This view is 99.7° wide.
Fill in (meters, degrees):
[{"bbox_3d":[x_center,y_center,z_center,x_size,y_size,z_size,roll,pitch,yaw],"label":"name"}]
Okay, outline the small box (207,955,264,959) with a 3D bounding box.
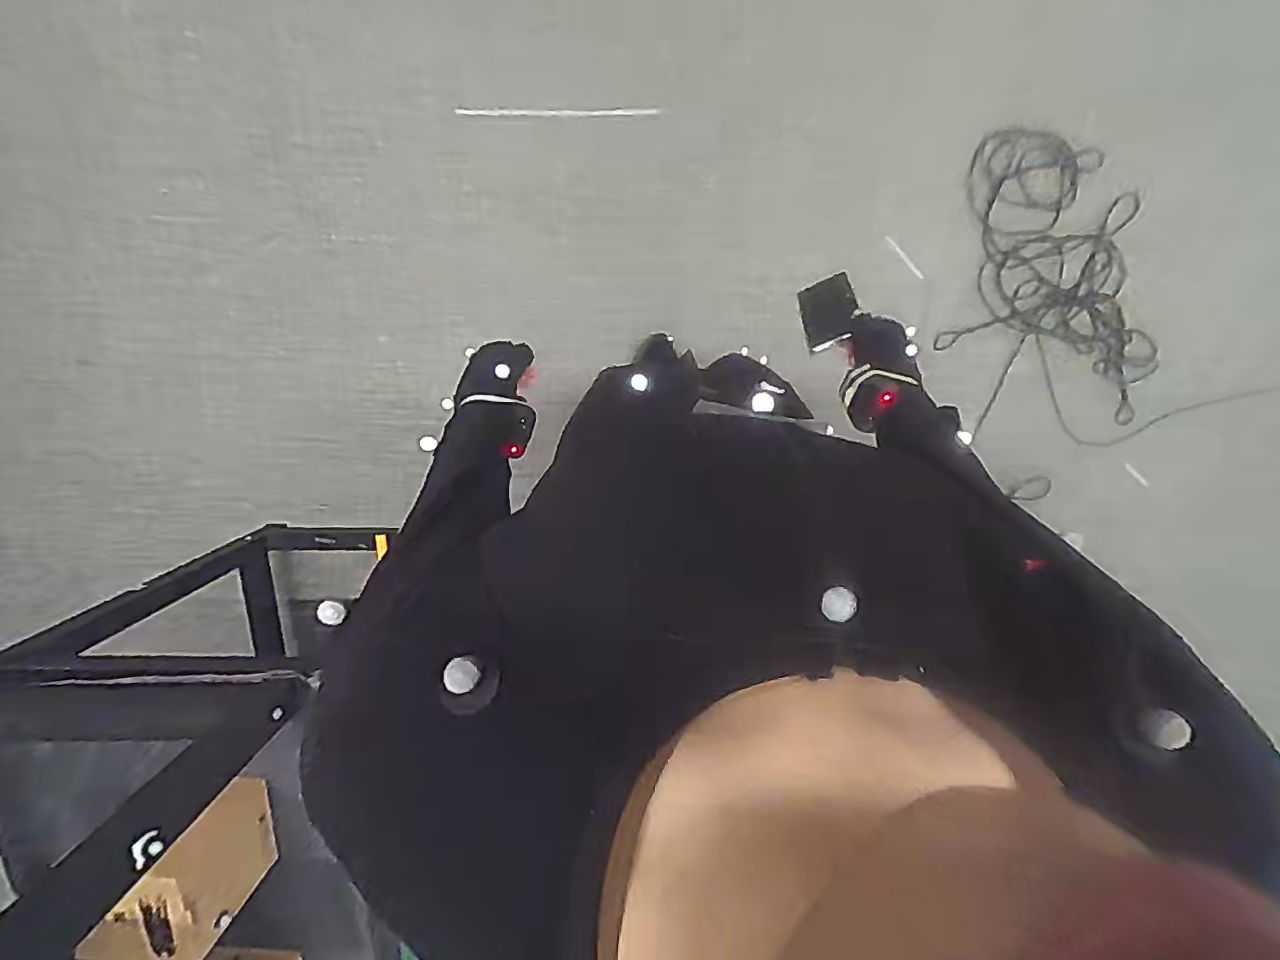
[{"bbox_3d":[-0.684,0.938,0.887,0.168,0.176,0.179,3,104,-1],"label":"small box"}]
